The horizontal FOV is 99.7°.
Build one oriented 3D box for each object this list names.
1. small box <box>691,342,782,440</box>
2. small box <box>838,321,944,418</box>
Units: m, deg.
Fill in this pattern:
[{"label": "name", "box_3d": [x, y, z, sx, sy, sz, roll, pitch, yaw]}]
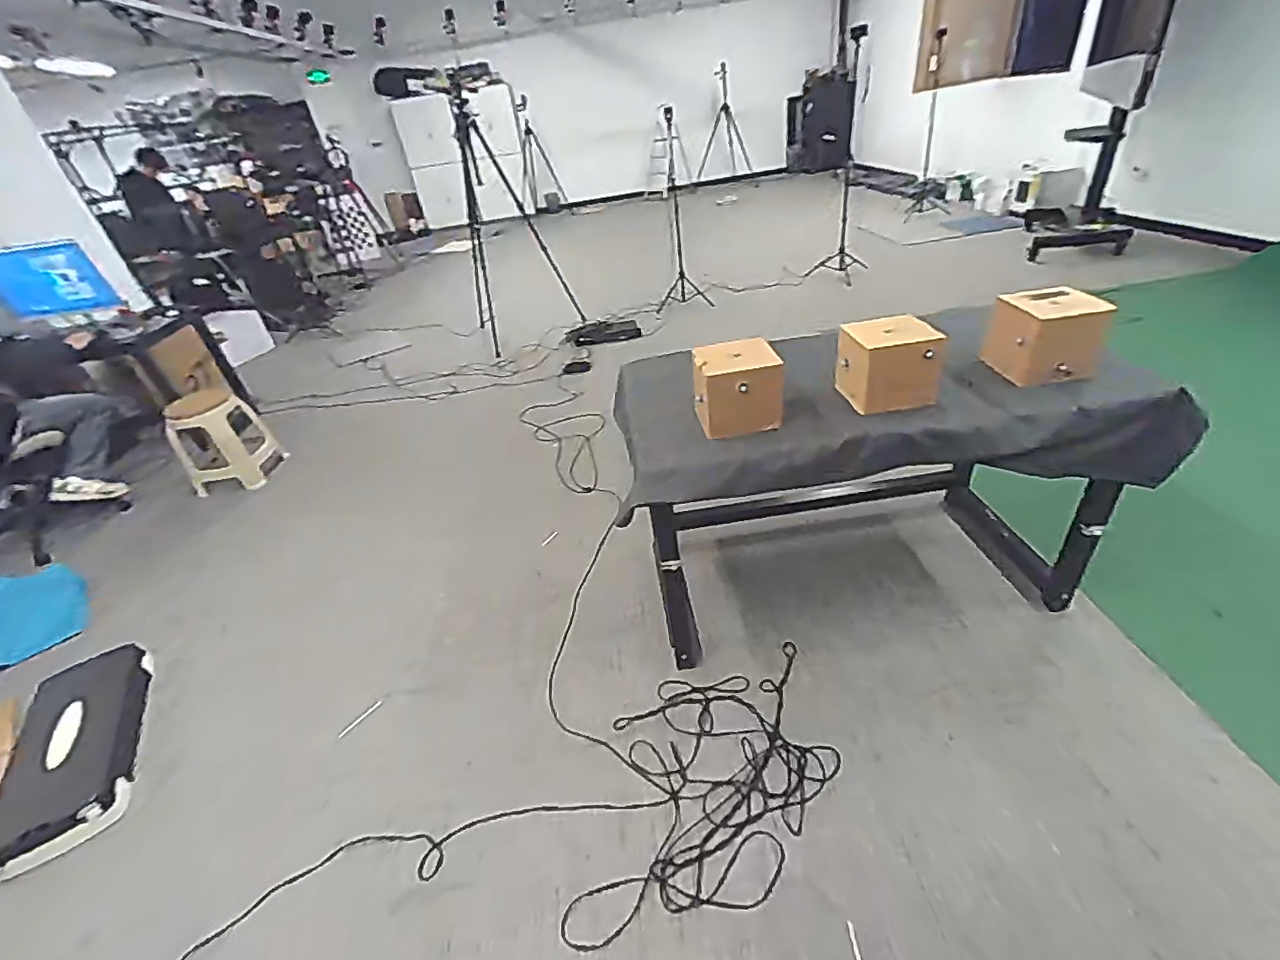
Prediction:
[{"label": "small box", "box_3d": [0.225, -0.207, 1.276, 0.179, 0.176, 0.168, -8, 35, -2]}, {"label": "small box", "box_3d": [0.579, -0.259, 1.276, 0.179, 0.176, 0.168, -8, 34, 0]}]
